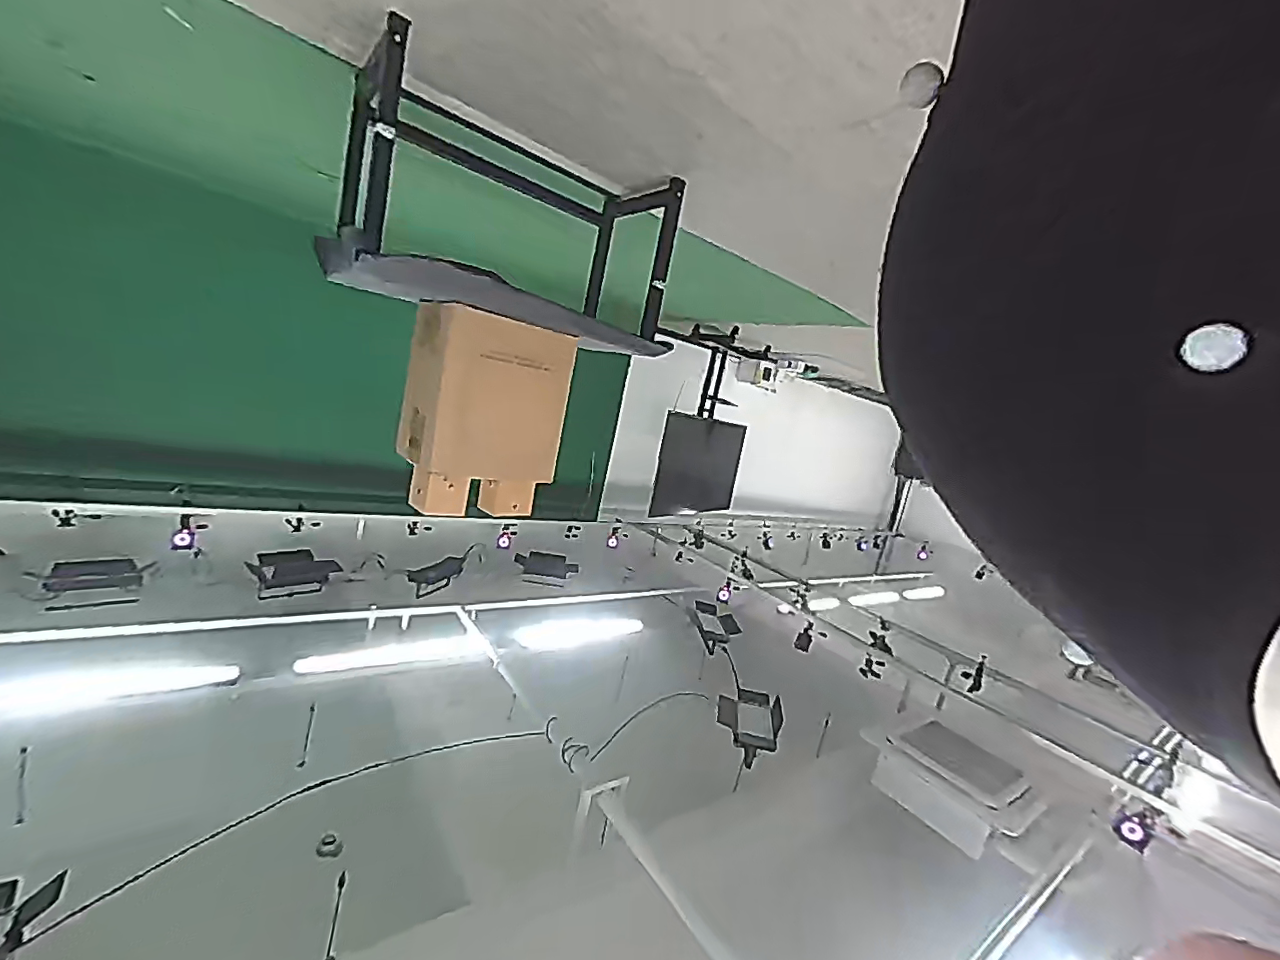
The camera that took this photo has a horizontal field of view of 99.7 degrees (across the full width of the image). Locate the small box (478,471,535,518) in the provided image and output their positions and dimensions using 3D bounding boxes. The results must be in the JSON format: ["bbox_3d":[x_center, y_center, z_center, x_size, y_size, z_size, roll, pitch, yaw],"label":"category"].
[{"bbox_3d":[-0.577,0.060,2.343,0.179,0.176,0.168,6,-173,-43],"label":"small box"}]

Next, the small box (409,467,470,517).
[{"bbox_3d":[-0.798,0.043,2.160,0.168,0.176,0.179,6,-172,-43],"label":"small box"}]
